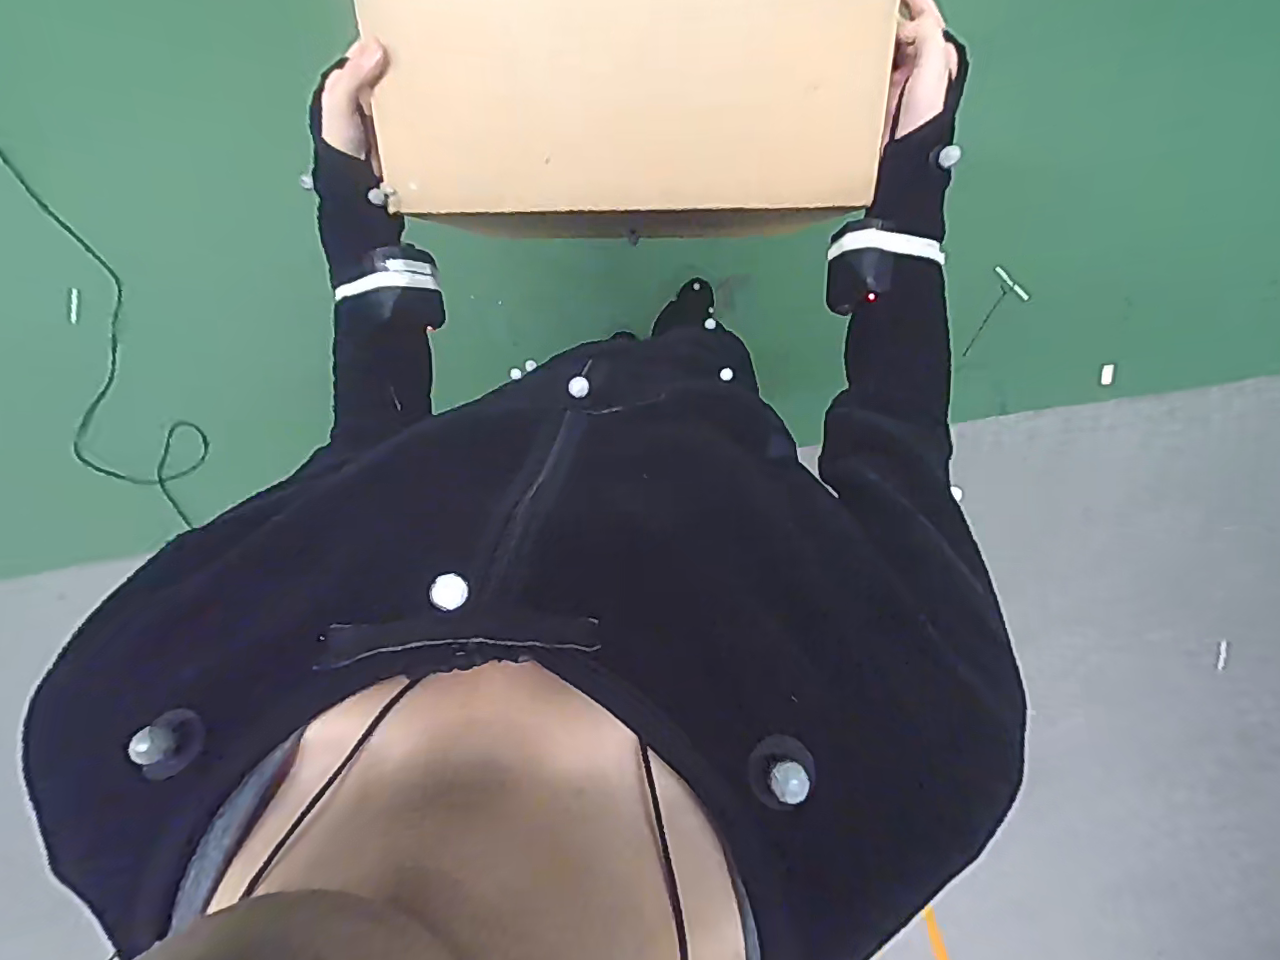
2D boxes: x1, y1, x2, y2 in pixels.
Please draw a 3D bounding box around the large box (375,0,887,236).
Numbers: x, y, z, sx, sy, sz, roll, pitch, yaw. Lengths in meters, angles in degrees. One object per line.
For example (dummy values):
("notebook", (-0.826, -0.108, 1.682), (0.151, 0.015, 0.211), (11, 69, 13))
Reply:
("large box", (-0.004, -0.429, 0.552), (0.408, 0.320, 0.320), (0, 110, 1))
